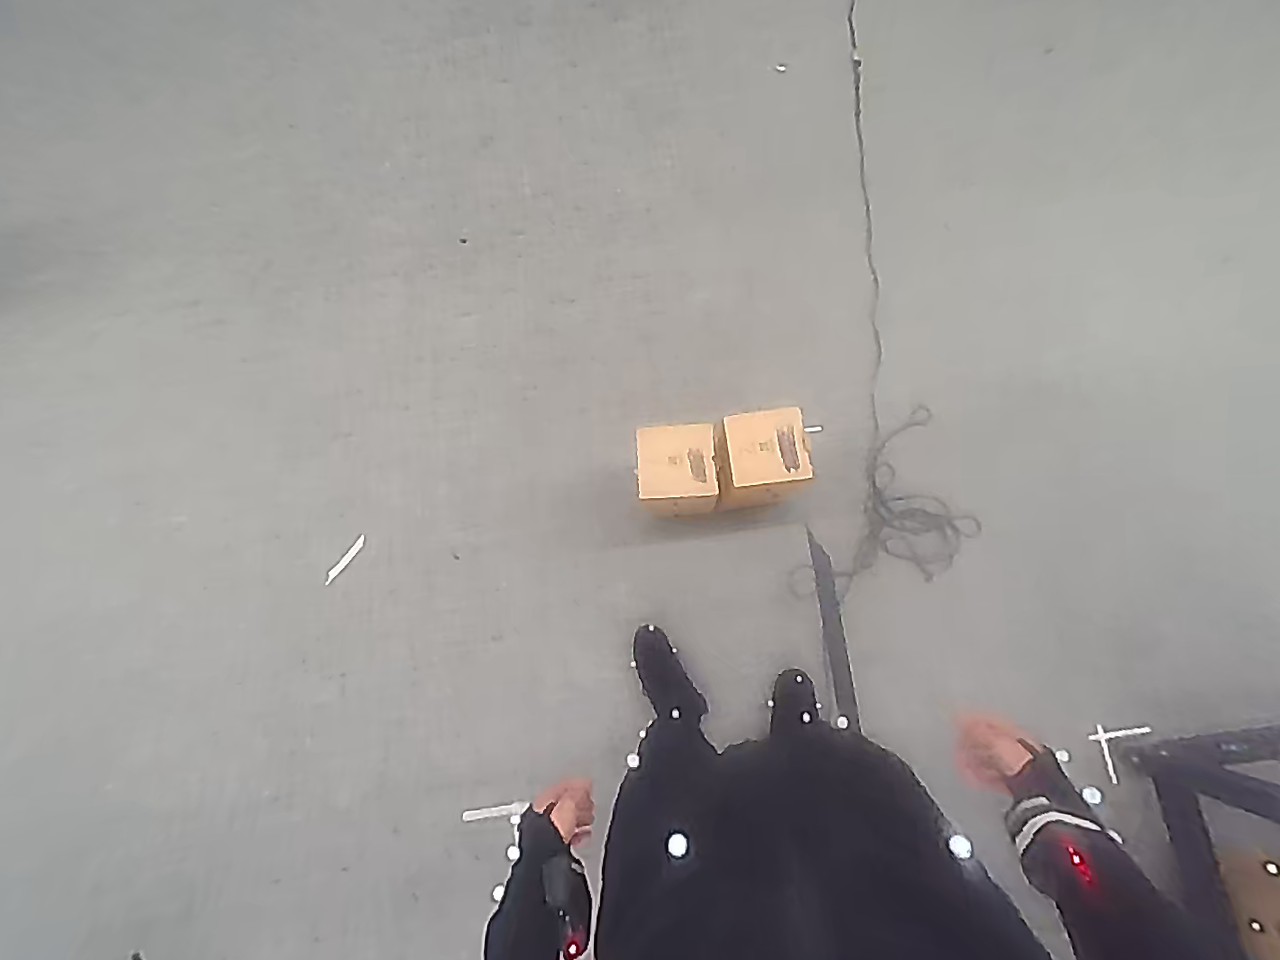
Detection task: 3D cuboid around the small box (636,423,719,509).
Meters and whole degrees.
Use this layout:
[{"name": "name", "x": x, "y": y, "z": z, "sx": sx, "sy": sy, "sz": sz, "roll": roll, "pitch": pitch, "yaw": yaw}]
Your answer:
[{"name": "small box", "x": 0.088, "y": -0.026, "z": 1.259, "sx": 0.179, "sy": 0.176, "sz": 0.168, "roll": -4, "pitch": 78, "yaw": 6}]
